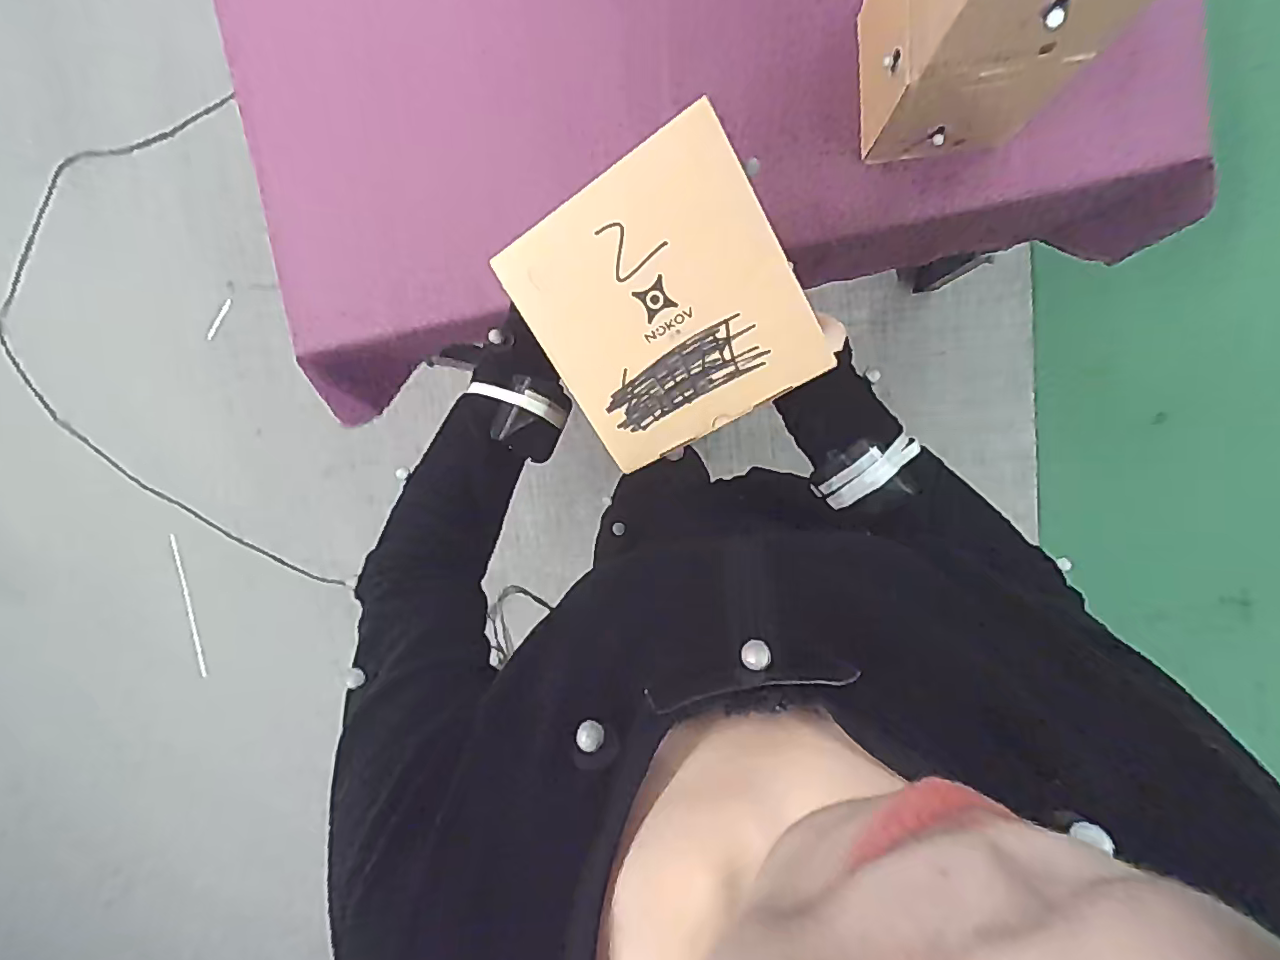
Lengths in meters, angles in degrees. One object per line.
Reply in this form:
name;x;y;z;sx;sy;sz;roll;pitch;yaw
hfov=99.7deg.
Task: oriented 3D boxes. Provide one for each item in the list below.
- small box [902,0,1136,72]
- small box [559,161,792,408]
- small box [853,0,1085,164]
small box;0.319;-0.461;0.423;0.168;0.176;0.179;-5;96;7
small box;0.048;-0.202;0.580;0.179;0.176;0.168;-24;106;20
small box;0.338;-0.479;0.586;0.168;0.176;0.179;-4;96;8
